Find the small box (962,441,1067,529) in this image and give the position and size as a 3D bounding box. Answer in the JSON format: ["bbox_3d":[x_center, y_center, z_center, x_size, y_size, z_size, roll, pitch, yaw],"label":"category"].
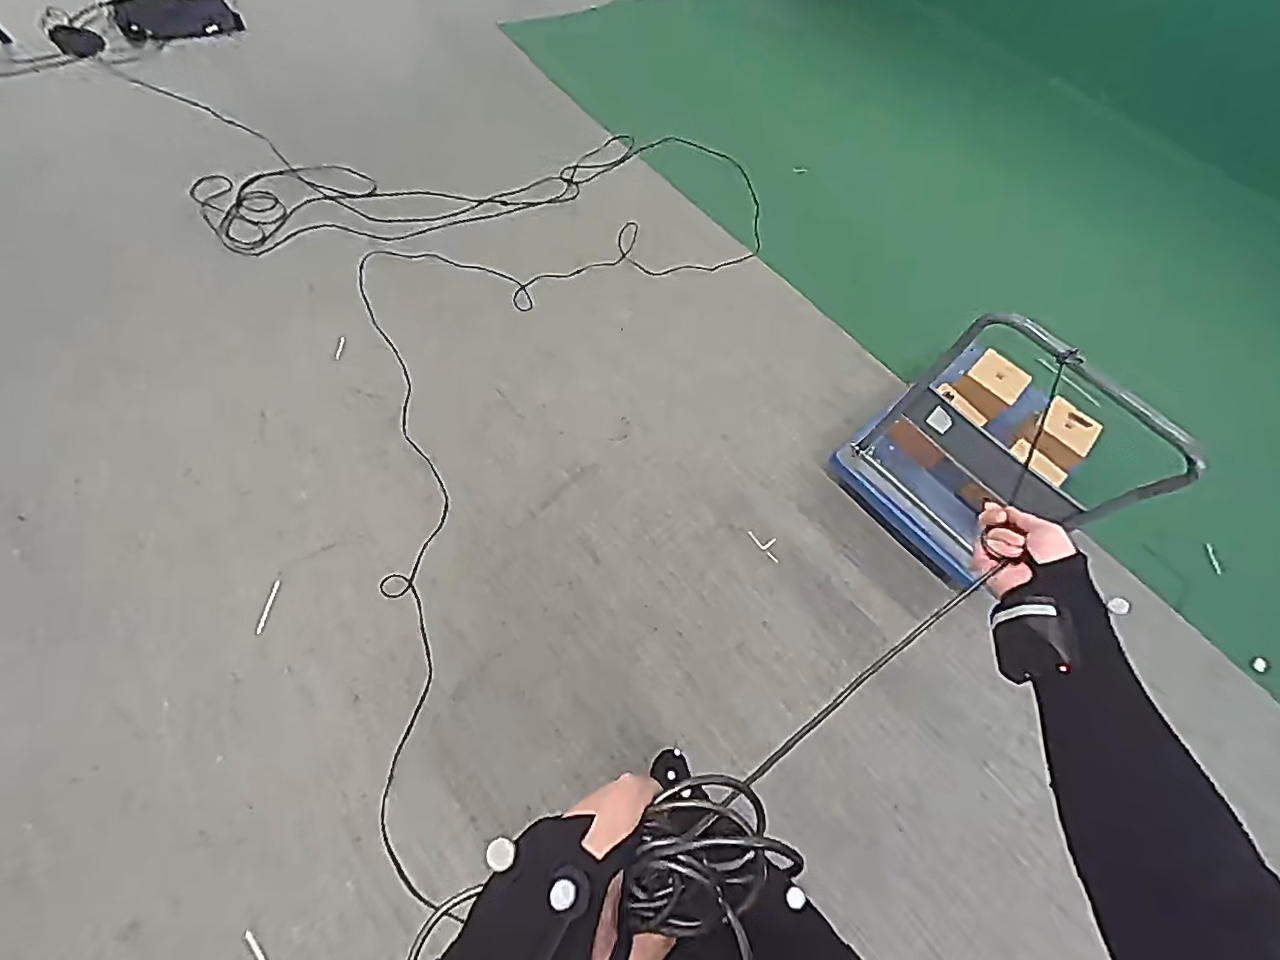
[{"bbox_3d":[1.132,0.018,1.647,0.179,0.176,0.168,-35,72,-23],"label":"small box"}]

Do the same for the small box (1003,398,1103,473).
[{"bbox_3d":[1.333,-0.125,1.756,0.179,0.176,0.168,-40,73,-24],"label":"small box"}]

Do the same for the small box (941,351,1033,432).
[{"bbox_3d":[1.156,-0.293,1.819,0.179,0.176,0.168,-39,75,-25],"label":"small box"}]
